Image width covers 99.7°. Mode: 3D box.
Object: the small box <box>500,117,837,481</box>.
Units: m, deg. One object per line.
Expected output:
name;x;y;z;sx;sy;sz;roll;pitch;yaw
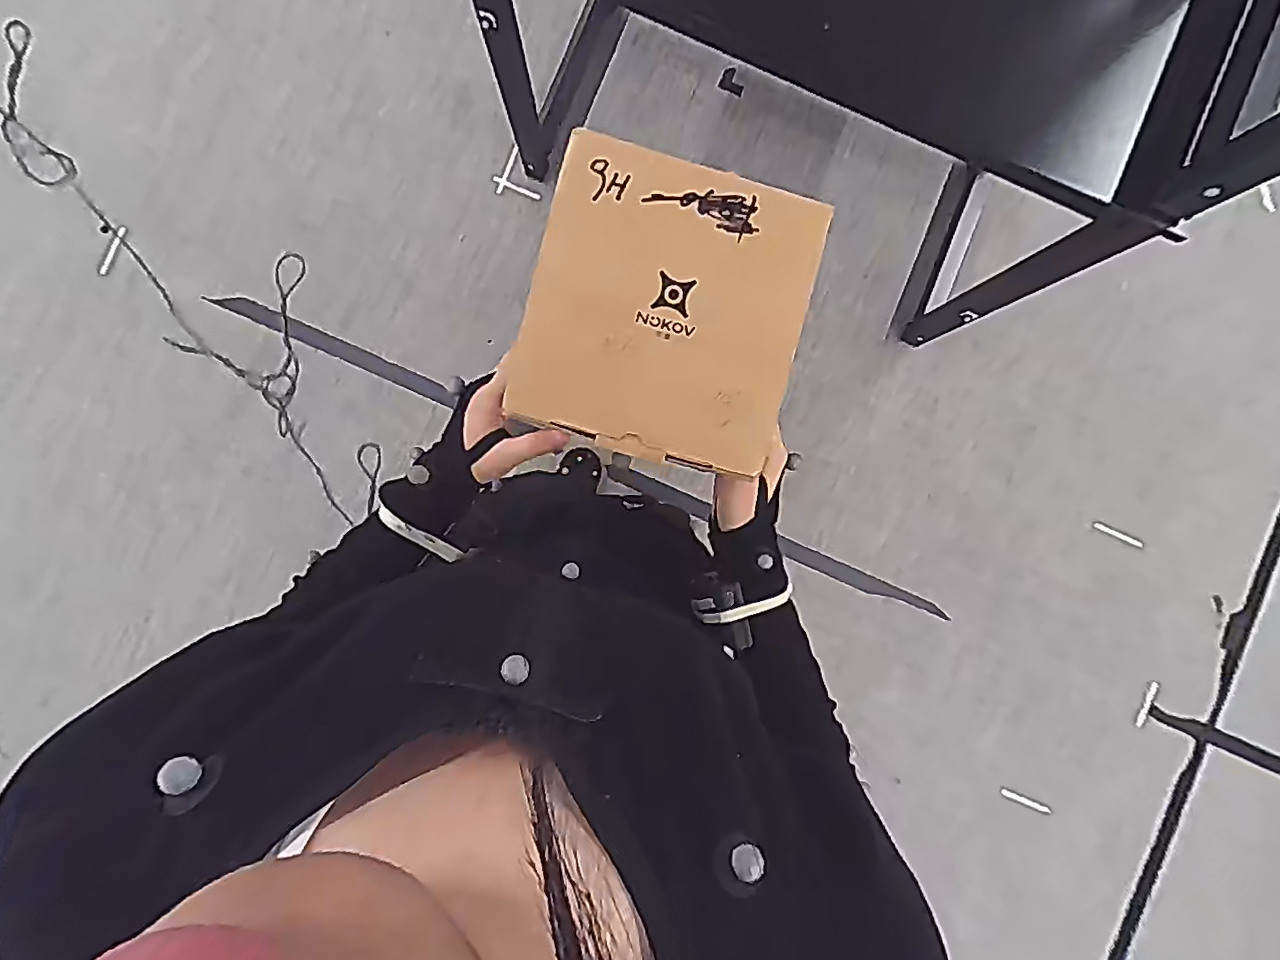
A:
small box;0.012;-0.110;0.398;0.168;0.176;0.179;15;93;-5
